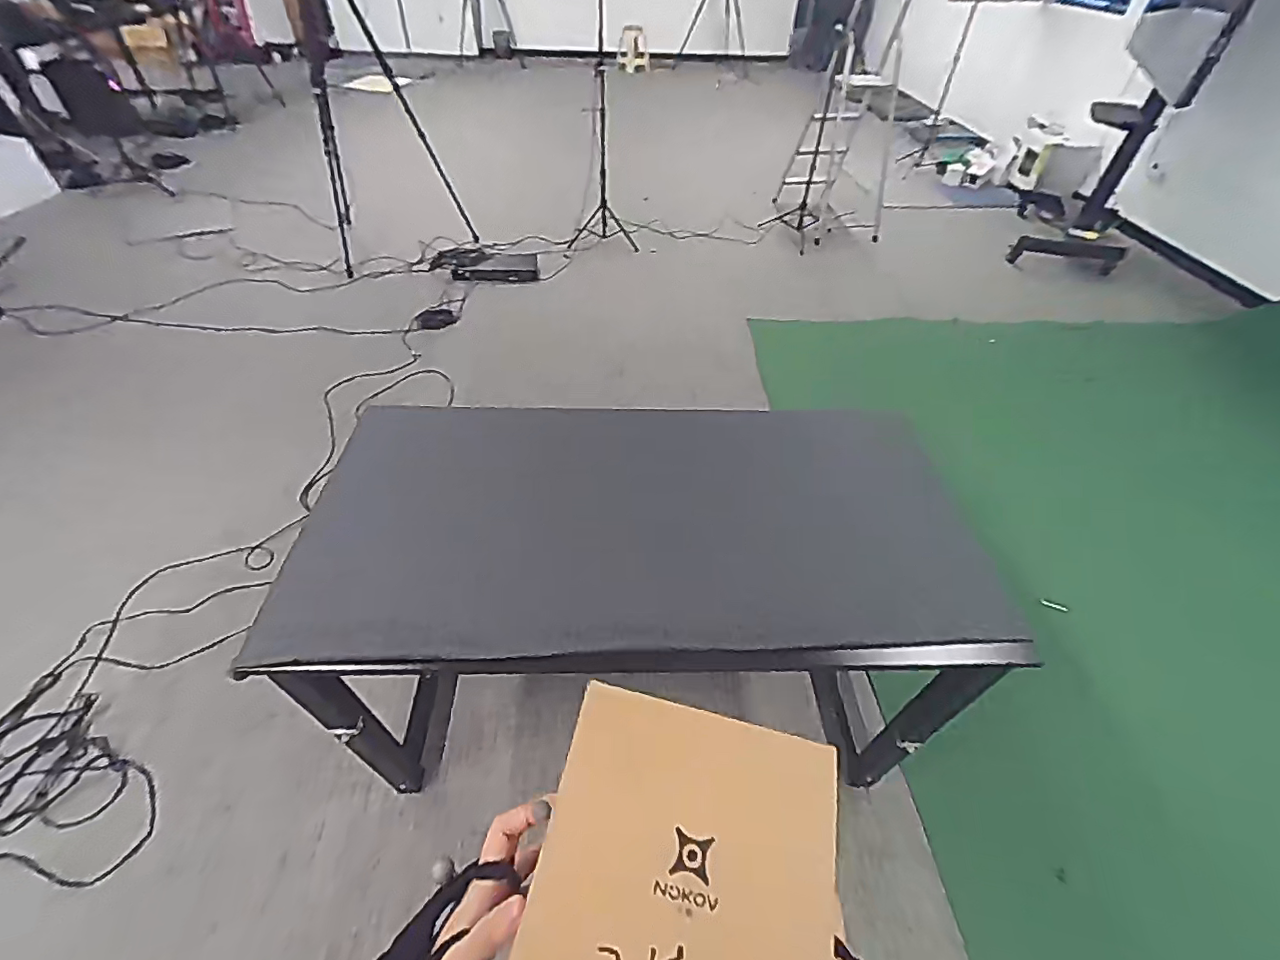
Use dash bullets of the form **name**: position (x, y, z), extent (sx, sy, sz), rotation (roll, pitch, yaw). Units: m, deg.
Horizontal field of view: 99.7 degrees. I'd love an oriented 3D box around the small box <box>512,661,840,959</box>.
- **small box**: position (0.024, 0.252, 0.369), extent (0.168, 0.176, 0.179), rotation (13, 54, 4)
